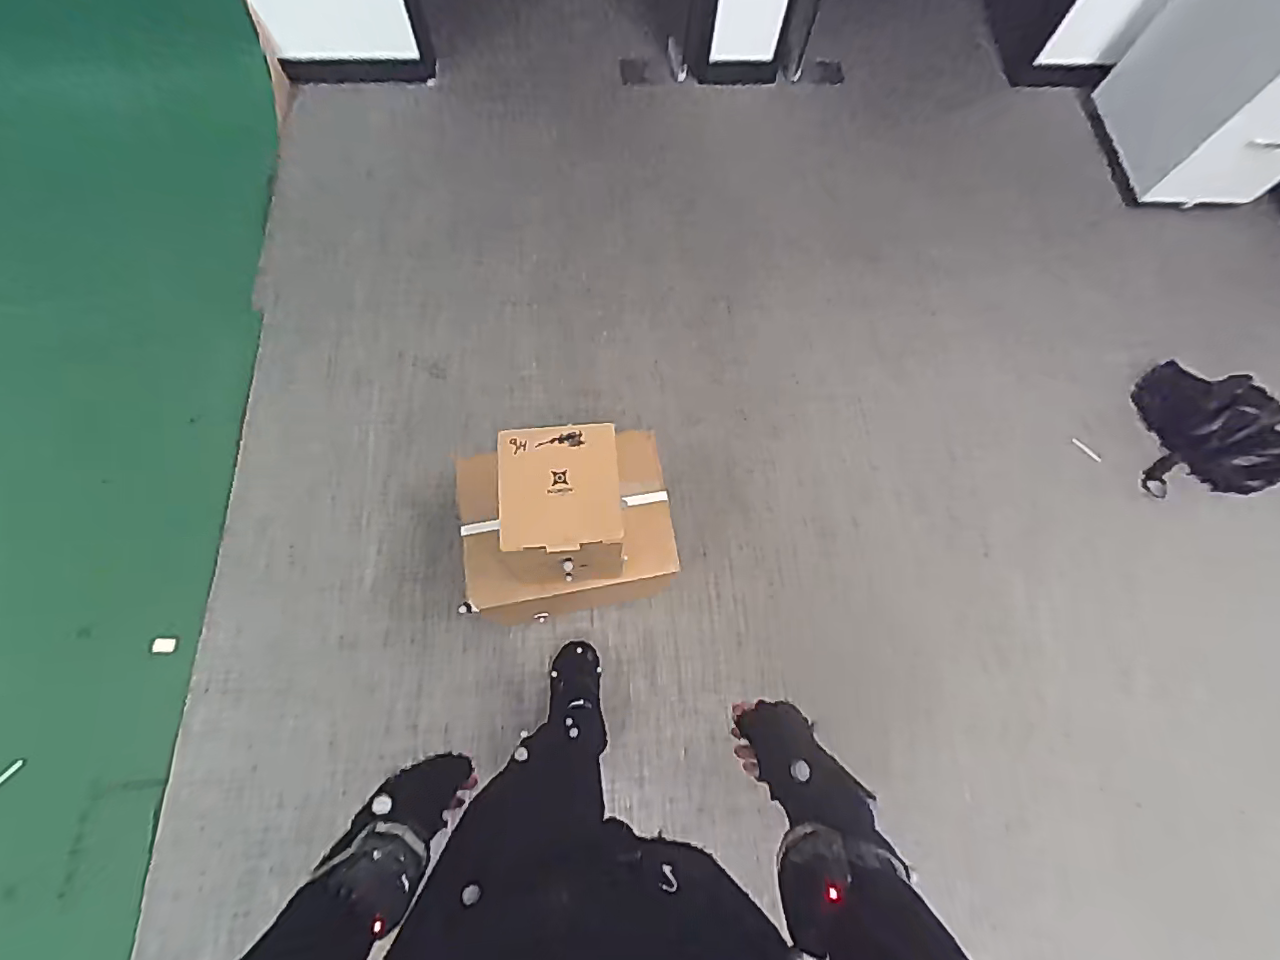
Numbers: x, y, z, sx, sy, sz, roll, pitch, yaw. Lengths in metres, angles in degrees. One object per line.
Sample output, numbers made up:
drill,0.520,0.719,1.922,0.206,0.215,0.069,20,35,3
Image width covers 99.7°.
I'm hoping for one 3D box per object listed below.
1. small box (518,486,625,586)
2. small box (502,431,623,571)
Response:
small box,-0.122,0.095,0.978,0.179,0.176,0.168,-4,71,-4
small box,-0.113,0.040,0.825,0.168,0.176,0.179,-4,71,-5
